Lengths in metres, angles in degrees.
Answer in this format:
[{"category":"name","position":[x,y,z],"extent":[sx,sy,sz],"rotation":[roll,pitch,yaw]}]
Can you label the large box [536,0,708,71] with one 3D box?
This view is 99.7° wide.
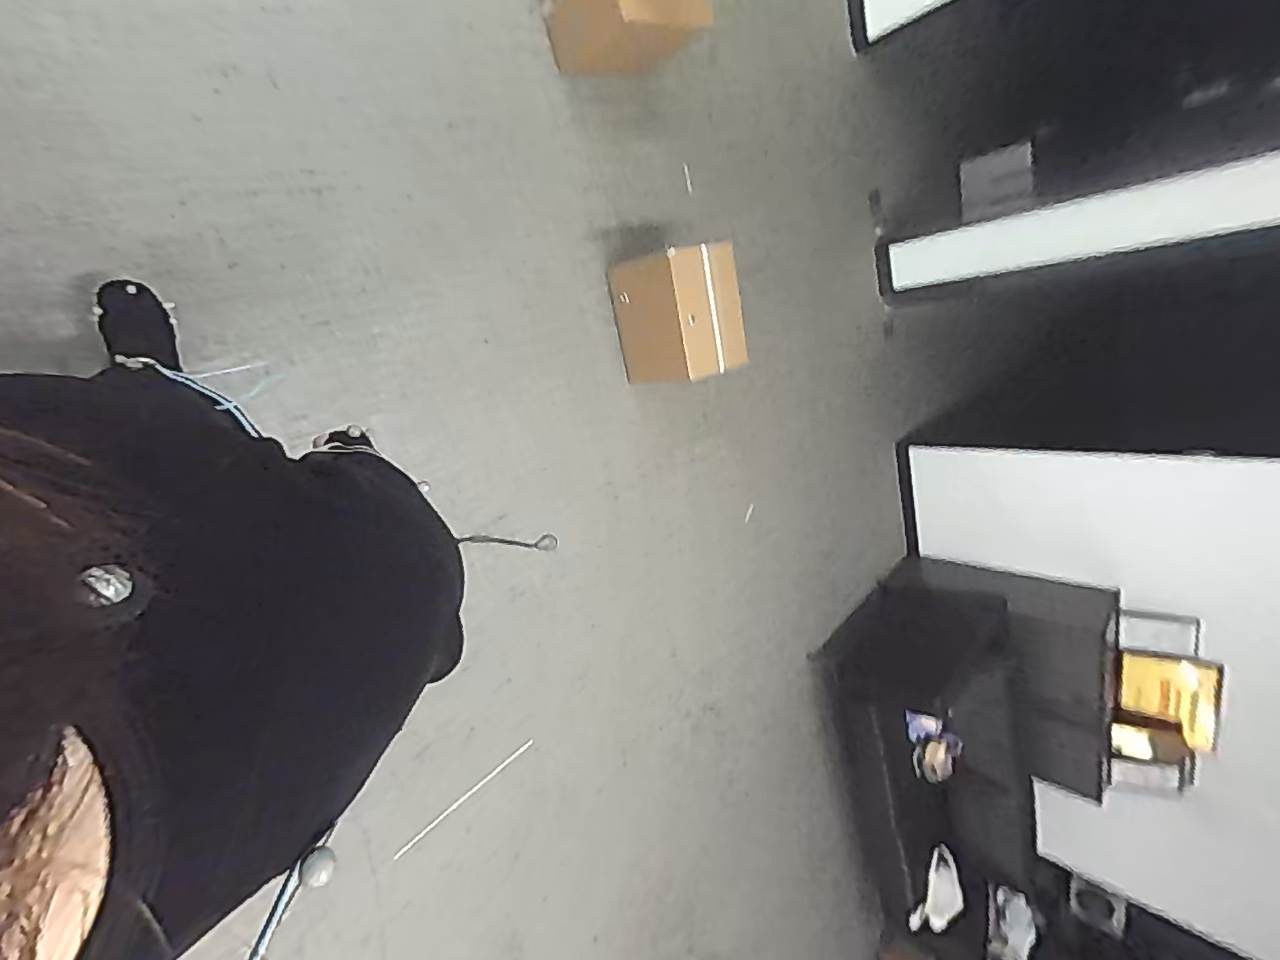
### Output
[{"category":"large box","position":[-0.067,-1.472,1.612],"extent":[0.408,0.320,0.320],"rotation":[-33,116,-36]}]
